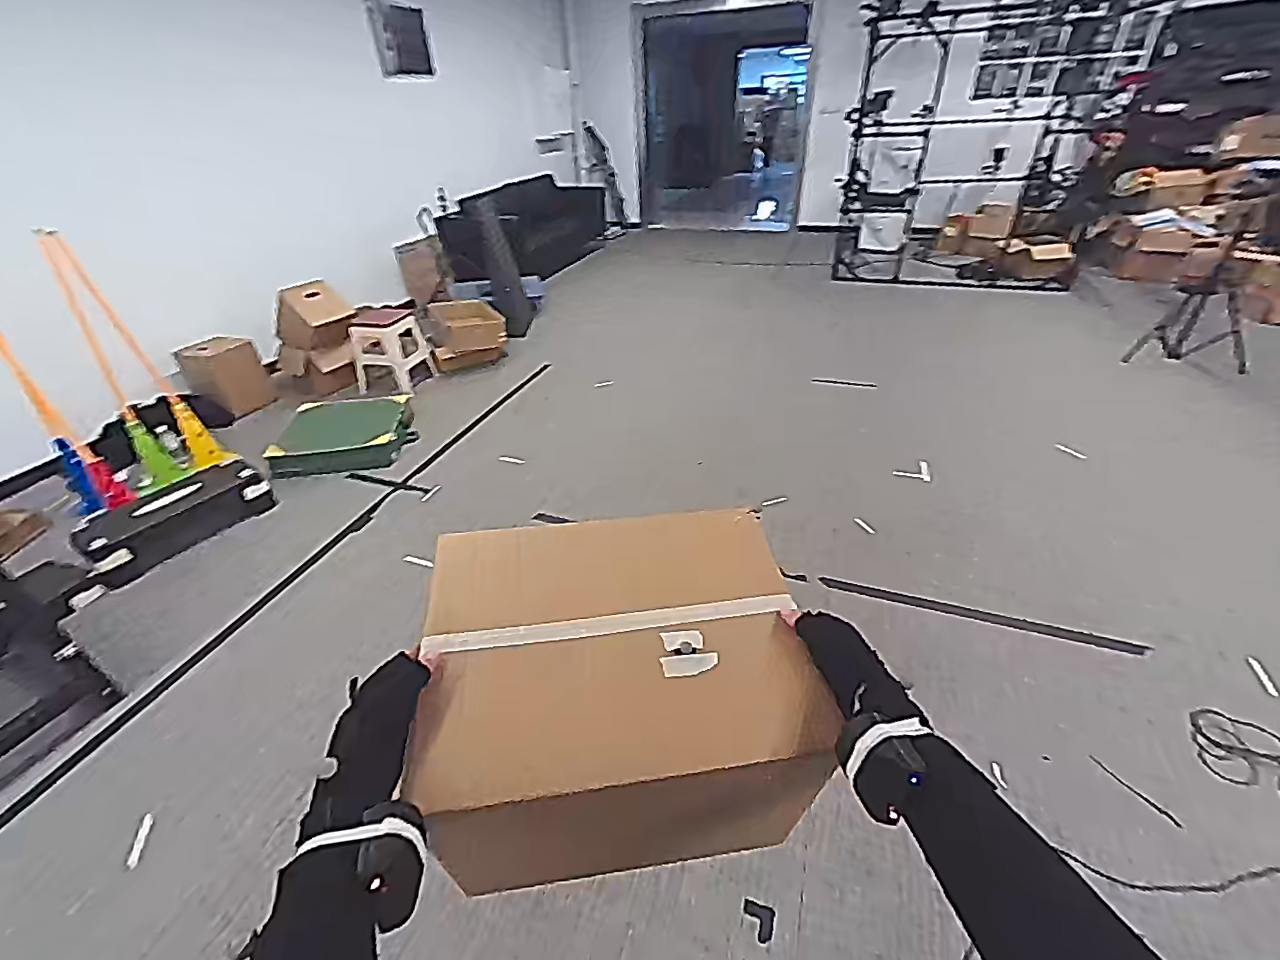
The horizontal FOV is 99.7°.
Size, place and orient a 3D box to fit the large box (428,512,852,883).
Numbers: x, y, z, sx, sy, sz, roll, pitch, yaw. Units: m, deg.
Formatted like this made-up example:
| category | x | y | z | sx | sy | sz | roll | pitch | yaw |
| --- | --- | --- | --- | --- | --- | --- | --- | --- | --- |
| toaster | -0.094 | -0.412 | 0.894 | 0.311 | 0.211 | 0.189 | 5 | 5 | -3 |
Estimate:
| category | x | y | z | sx | sy | sz | roll | pitch | yaw |
| --- | --- | --- | --- | --- | --- | --- | --- | --- | --- |
| large box | -0.018 | 0.270 | 0.698 | 0.408 | 0.320 | 0.320 | -4 | 43 | -7 |
